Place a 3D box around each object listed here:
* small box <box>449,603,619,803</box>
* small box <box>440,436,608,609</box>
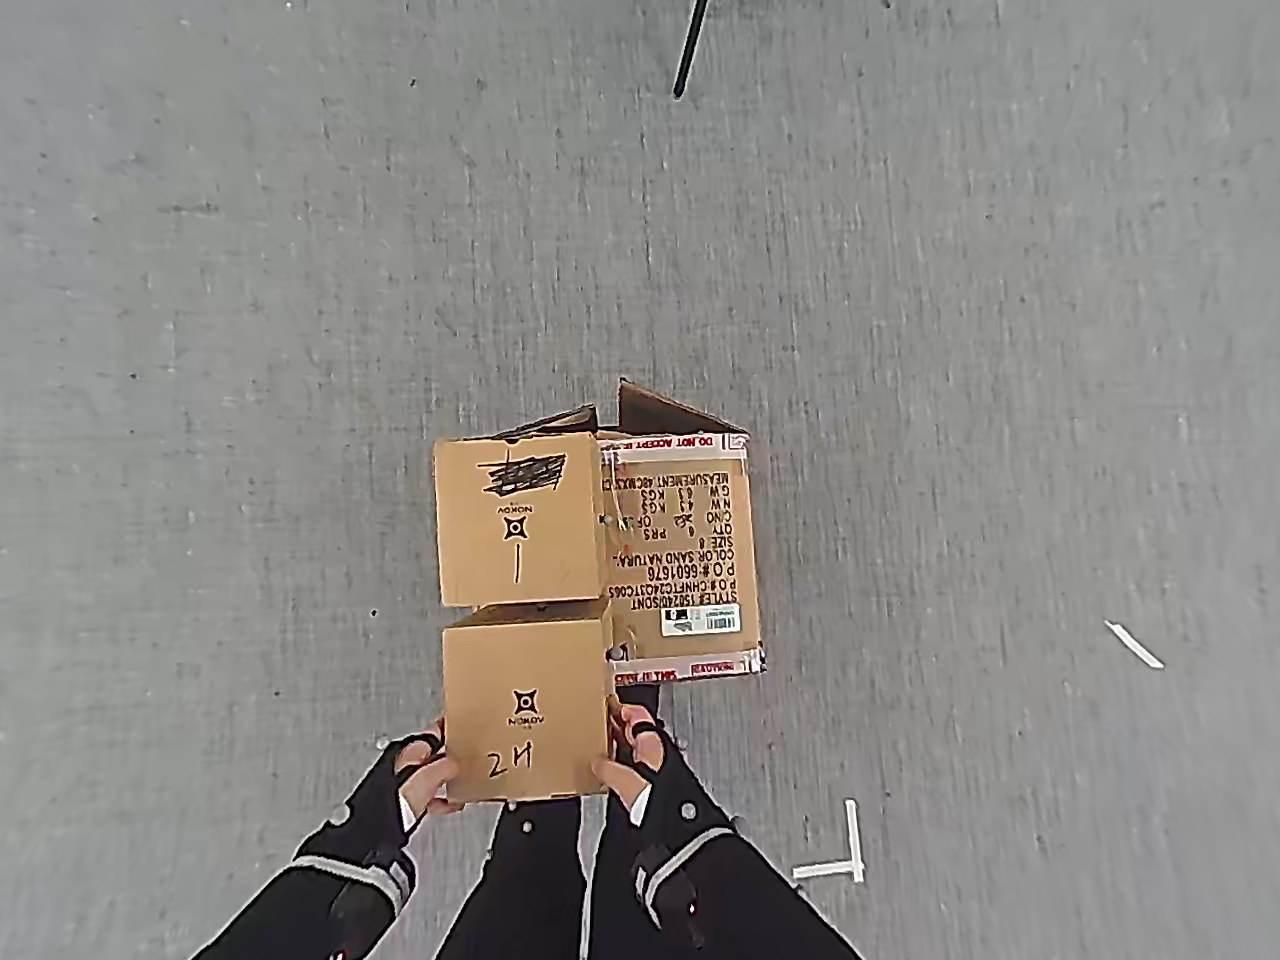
[{"bbox_3d":[-0.113,0.241,0.629,0.168,0.176,0.179,-4,85,0],"label":"small box"},{"bbox_3d":[-0.127,0.048,0.645,0.168,0.176,0.179,-3,89,-1],"label":"small box"}]
